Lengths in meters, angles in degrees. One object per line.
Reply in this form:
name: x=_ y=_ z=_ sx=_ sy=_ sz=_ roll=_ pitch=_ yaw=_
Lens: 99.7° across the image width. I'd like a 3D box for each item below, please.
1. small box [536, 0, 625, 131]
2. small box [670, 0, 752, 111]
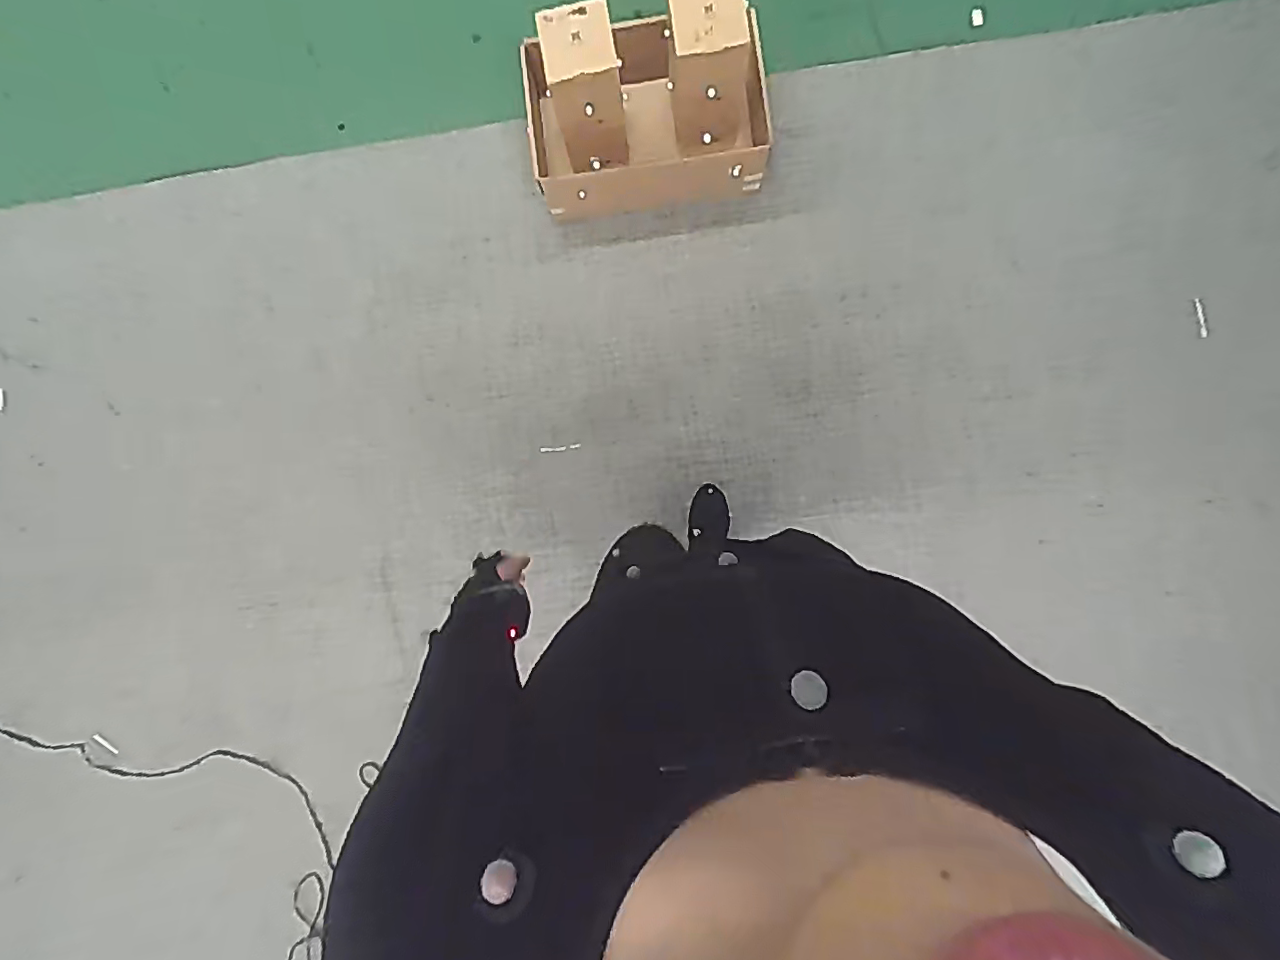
small box: x=-0.134 y=-0.965 z=1.280 sx=0.168 sy=0.176 sz=0.179 roll=-10 pitch=87 yaw=3
small box: x=0.159 y=-1.014 z=1.264 sx=0.168 sy=0.176 sz=0.179 roll=-8 pitch=87 yaw=4
